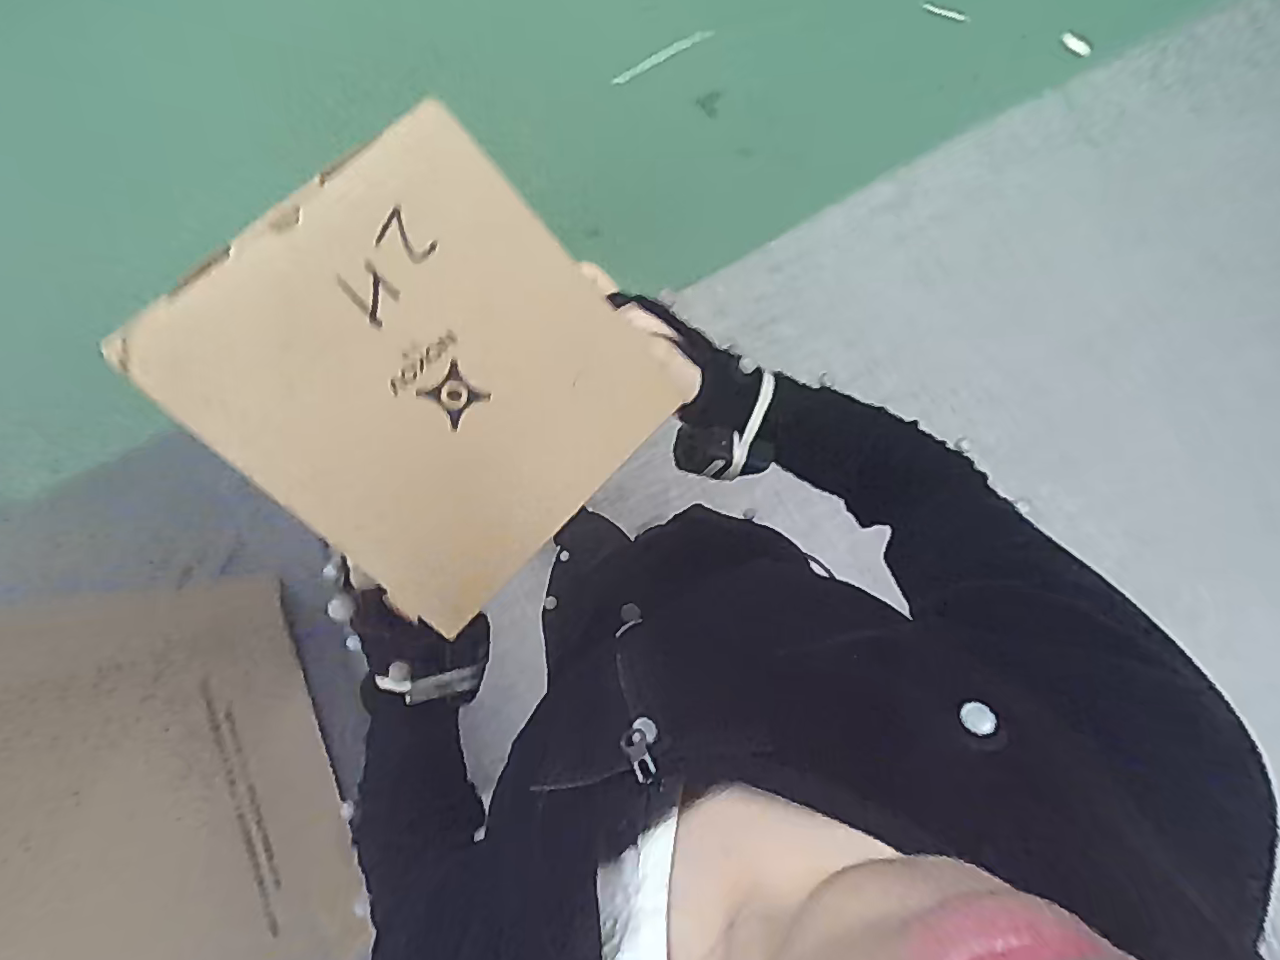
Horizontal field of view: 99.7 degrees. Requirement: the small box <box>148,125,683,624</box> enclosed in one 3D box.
[{"bbox_3d":[-0.111,-0.052,0.327,0.168,0.176,0.179,-45,107,-11],"label":"small box"}]
